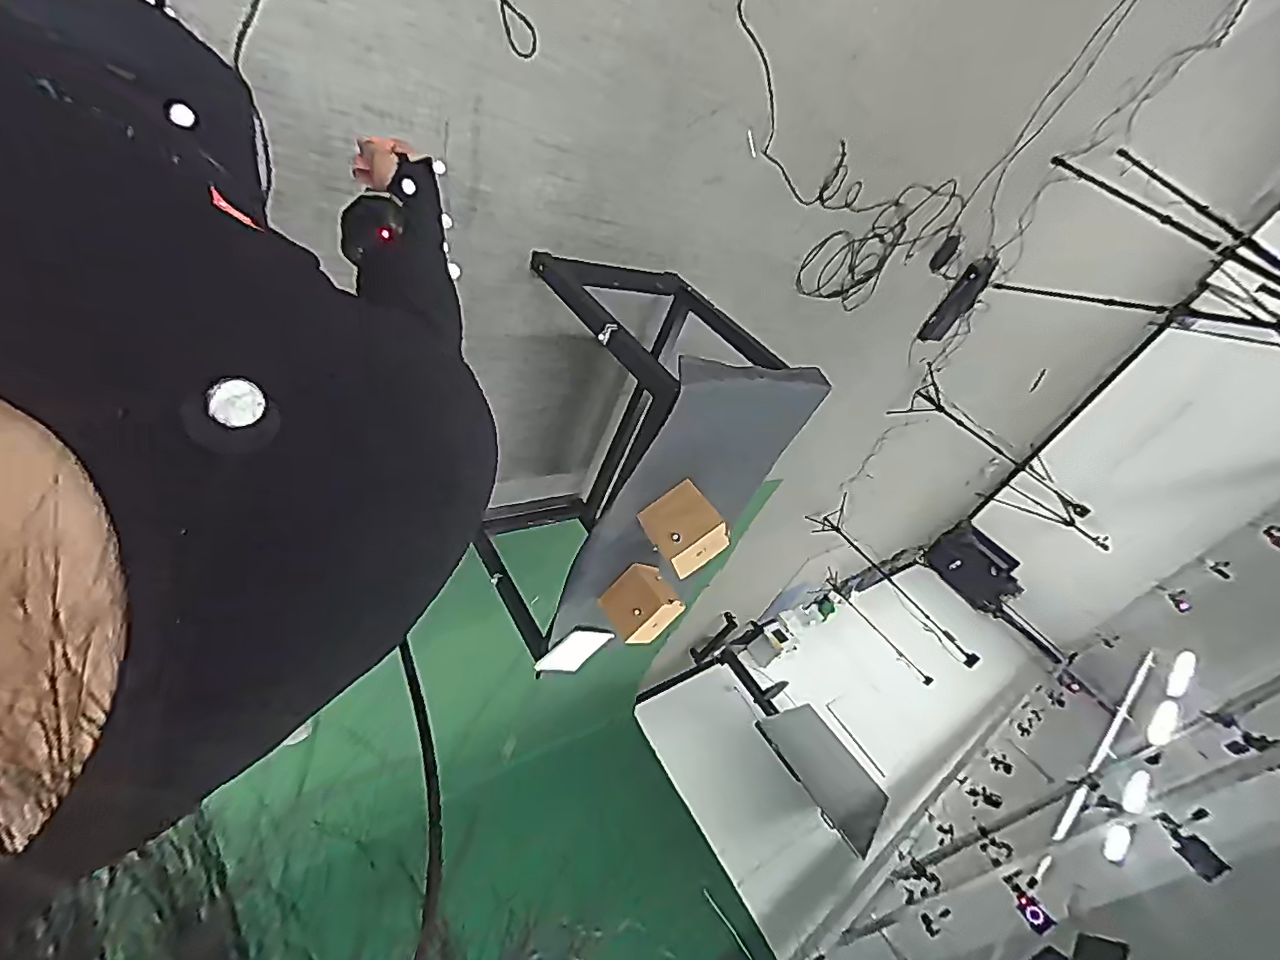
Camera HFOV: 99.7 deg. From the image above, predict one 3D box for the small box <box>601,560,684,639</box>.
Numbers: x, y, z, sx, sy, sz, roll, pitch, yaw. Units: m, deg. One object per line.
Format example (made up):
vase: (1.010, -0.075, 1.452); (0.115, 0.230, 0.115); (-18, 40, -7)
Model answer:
small box: (0.001, 0.377, 1.697); (0.179, 0.176, 0.168); (-47, 149, 10)

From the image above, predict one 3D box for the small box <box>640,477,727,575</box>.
small box: (0.116, 0.125, 1.493); (0.179, 0.176, 0.168); (-36, 150, -7)
